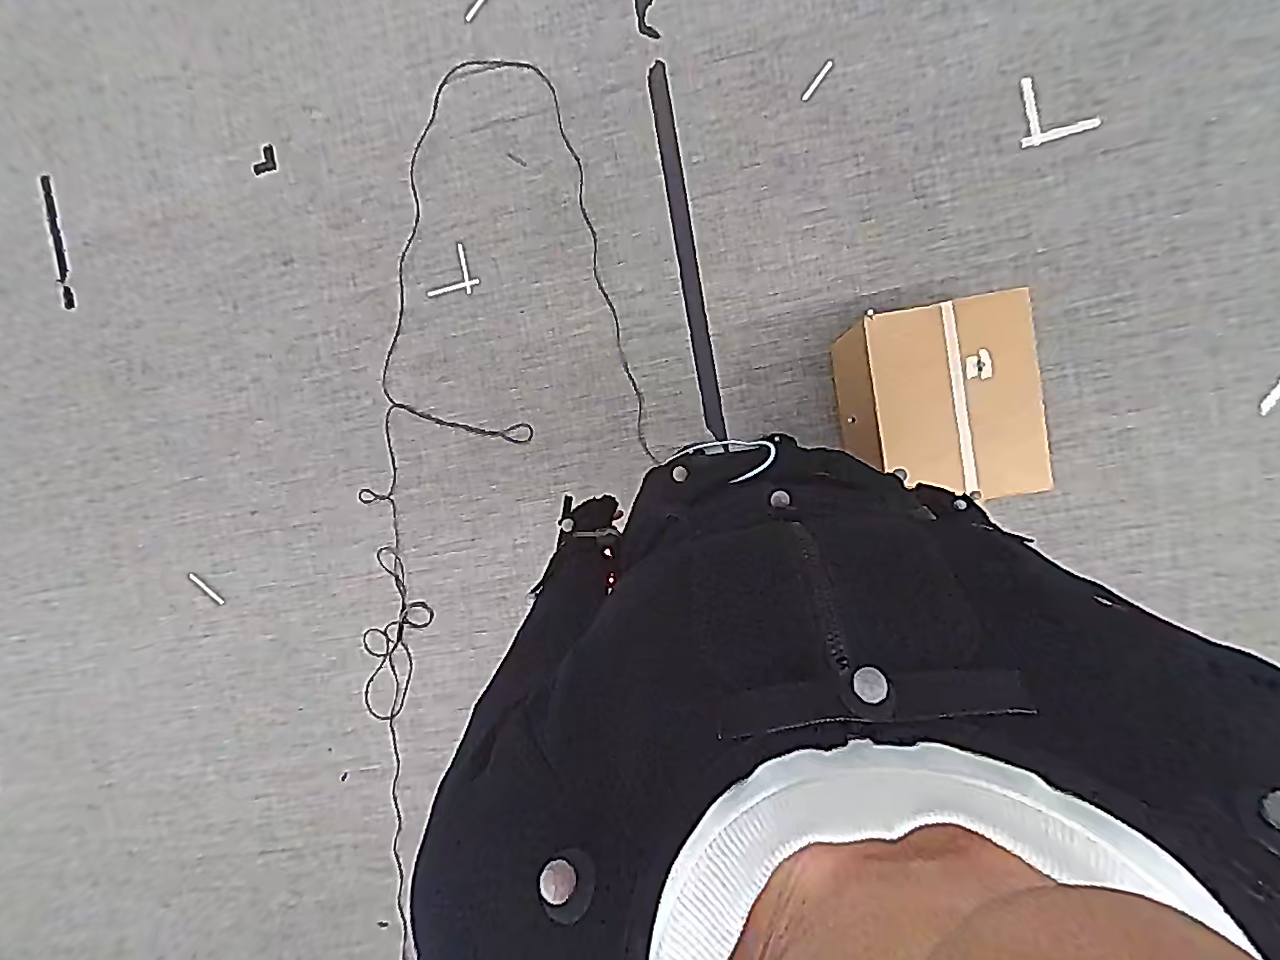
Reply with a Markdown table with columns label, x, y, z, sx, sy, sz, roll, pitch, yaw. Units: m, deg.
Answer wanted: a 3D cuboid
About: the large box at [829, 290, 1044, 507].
| label | x | y | z | sx | sy | sz | roll | pitch | yaw |
| --- | --- | --- | --- | --- | --- | --- | --- | --- | --- |
| large box | 0.652 | -0.168 | 1.248 | 0.320 | 0.320 | 0.408 | -9 | 92 | 6 |
